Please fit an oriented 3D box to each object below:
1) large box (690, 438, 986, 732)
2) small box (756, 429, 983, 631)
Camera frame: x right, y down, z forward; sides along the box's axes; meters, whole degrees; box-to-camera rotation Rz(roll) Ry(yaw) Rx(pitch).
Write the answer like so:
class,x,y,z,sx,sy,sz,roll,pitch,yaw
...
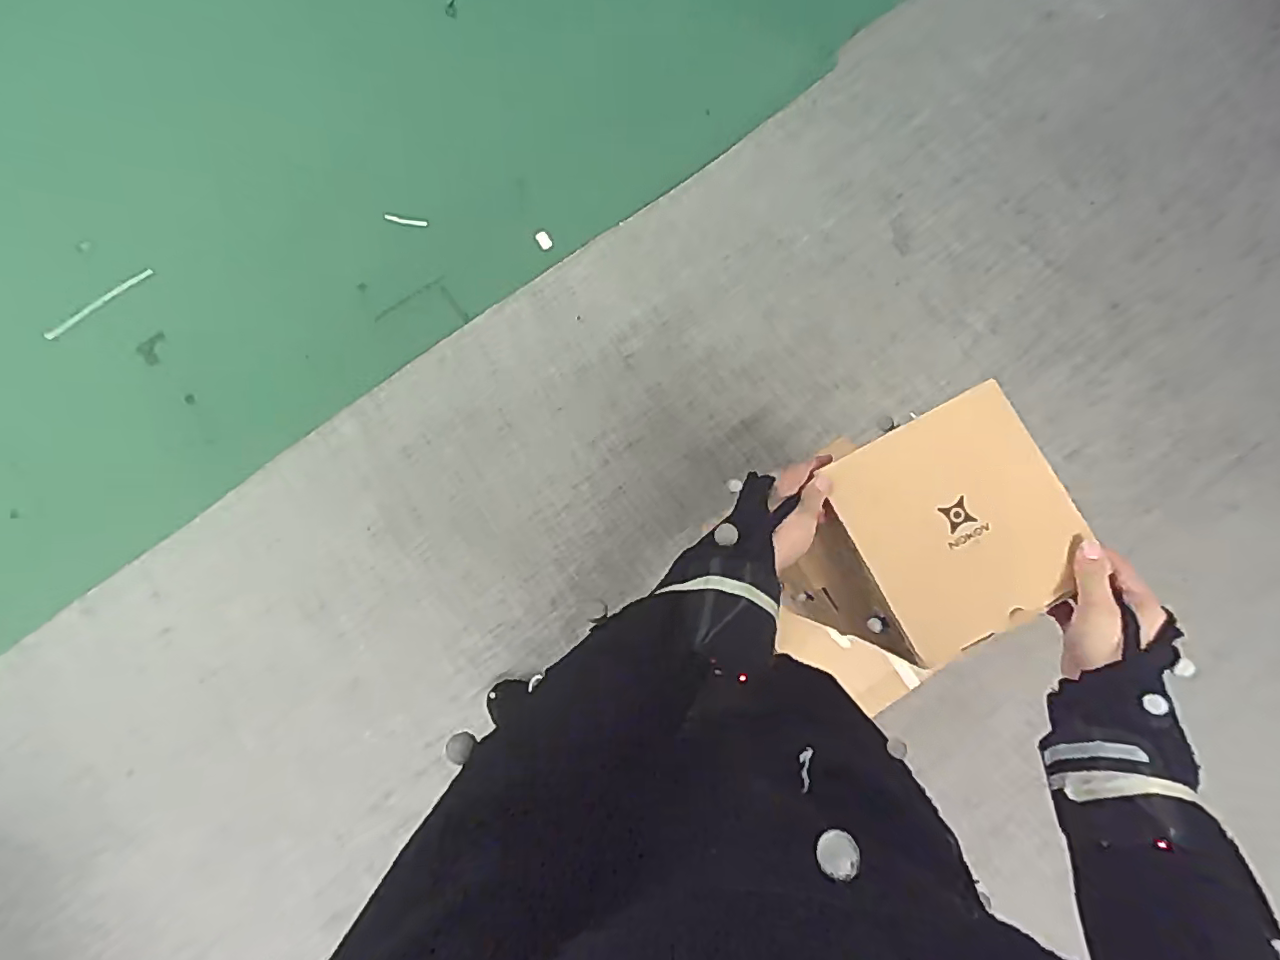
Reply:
class,x,y,z,sx,sy,sz,roll,pitch,yaw
large box,0.339,0.189,1.055,0.320,0.320,0.408,-33,81,-2
small box,0.259,0.064,0.666,0.179,0.176,0.168,-30,83,-4
